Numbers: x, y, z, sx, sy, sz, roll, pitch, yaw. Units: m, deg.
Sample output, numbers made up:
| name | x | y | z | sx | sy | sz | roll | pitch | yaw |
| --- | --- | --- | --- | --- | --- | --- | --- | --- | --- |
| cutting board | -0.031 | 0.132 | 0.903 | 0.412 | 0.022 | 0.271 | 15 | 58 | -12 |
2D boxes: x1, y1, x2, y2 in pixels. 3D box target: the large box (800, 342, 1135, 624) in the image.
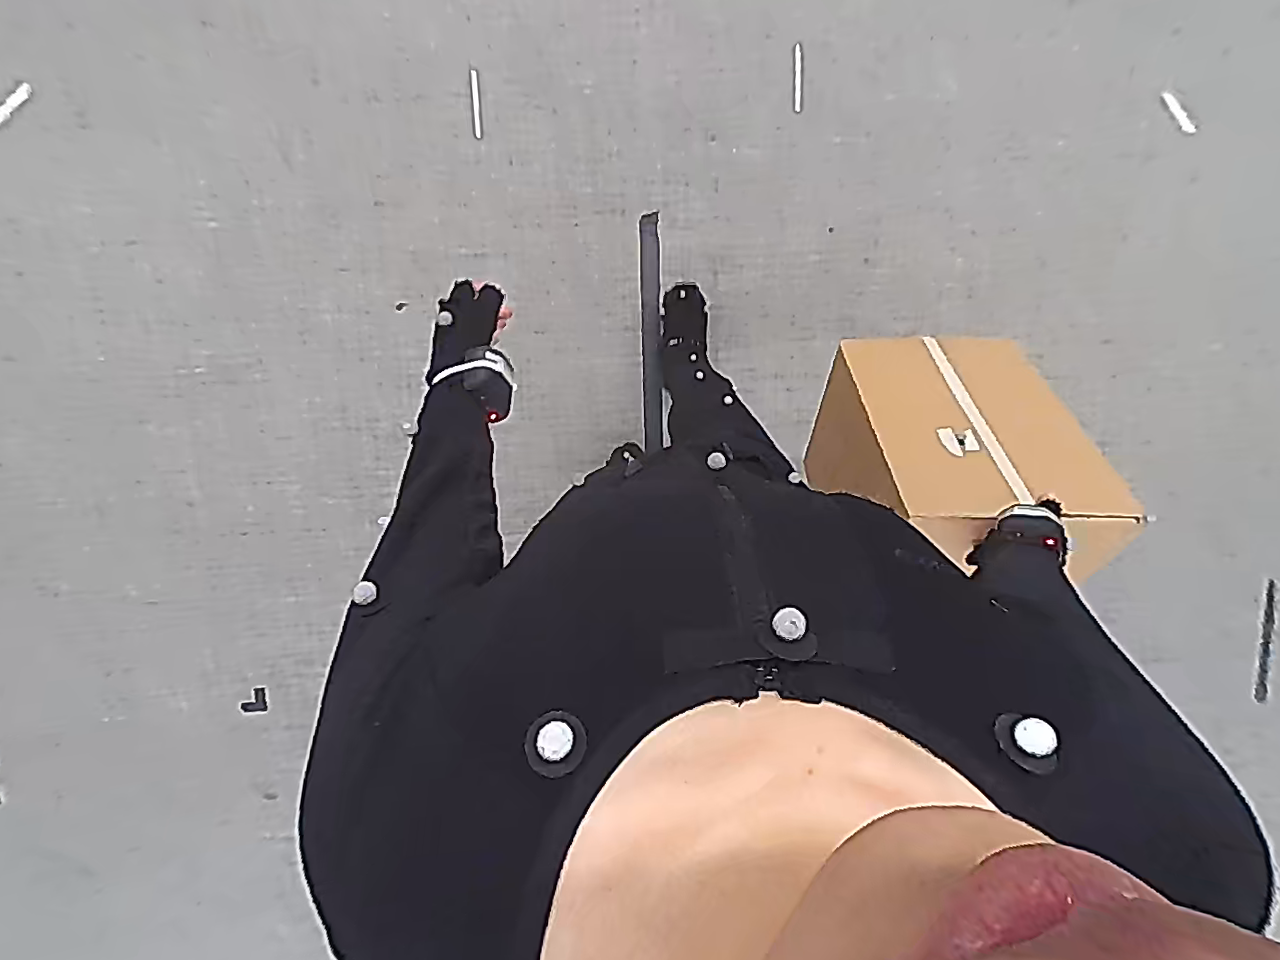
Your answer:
| name | x | y | z | sx | sy | sz | roll | pitch | yaw |
| --- | --- | --- | --- | --- | --- | --- | --- | --- | --- |
| large box | 0.508 | 0.002 | 0.962 | 0.320 | 0.408 | 0.320 | 1 | 139 | 0 |
